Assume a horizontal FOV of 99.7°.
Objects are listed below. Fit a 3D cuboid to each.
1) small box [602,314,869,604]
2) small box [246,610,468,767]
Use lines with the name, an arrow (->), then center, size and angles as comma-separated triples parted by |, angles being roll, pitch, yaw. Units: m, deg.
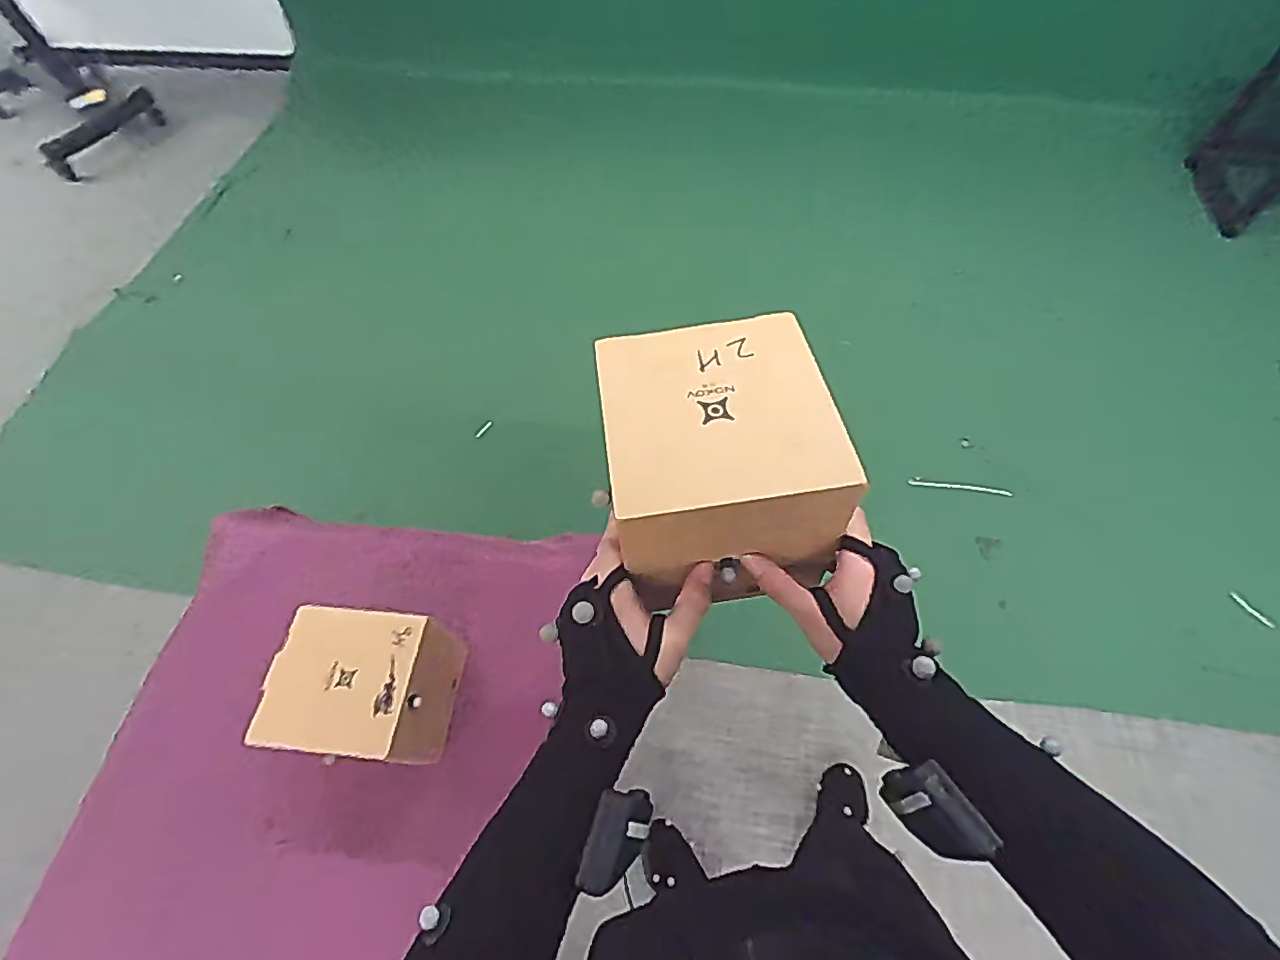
small box -> 0.064, -0.008, 0.453 | 0.168, 0.176, 0.179 | -8, 54, 0
small box -> -0.357, 0.282, 0.722 | 0.179, 0.176, 0.168 | 3, 62, 6
